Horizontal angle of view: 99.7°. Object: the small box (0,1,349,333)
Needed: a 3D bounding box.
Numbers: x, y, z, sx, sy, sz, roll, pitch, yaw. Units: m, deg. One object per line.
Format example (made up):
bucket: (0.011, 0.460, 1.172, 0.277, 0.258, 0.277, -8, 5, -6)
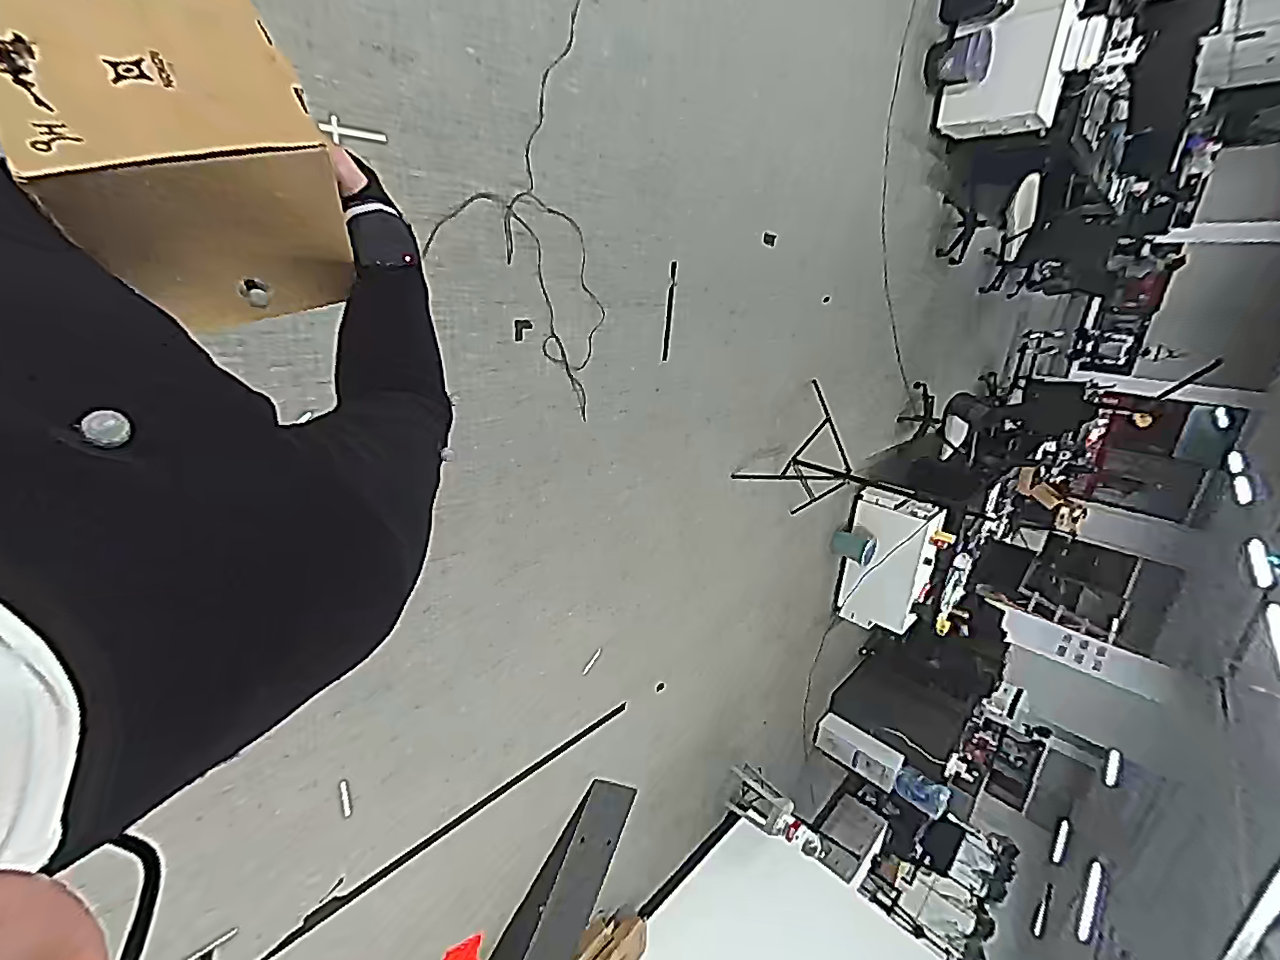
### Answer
small box: (-0.370, -0.255, 0.460, 0.179, 0.168, 0.176, -26, 167, -26)
